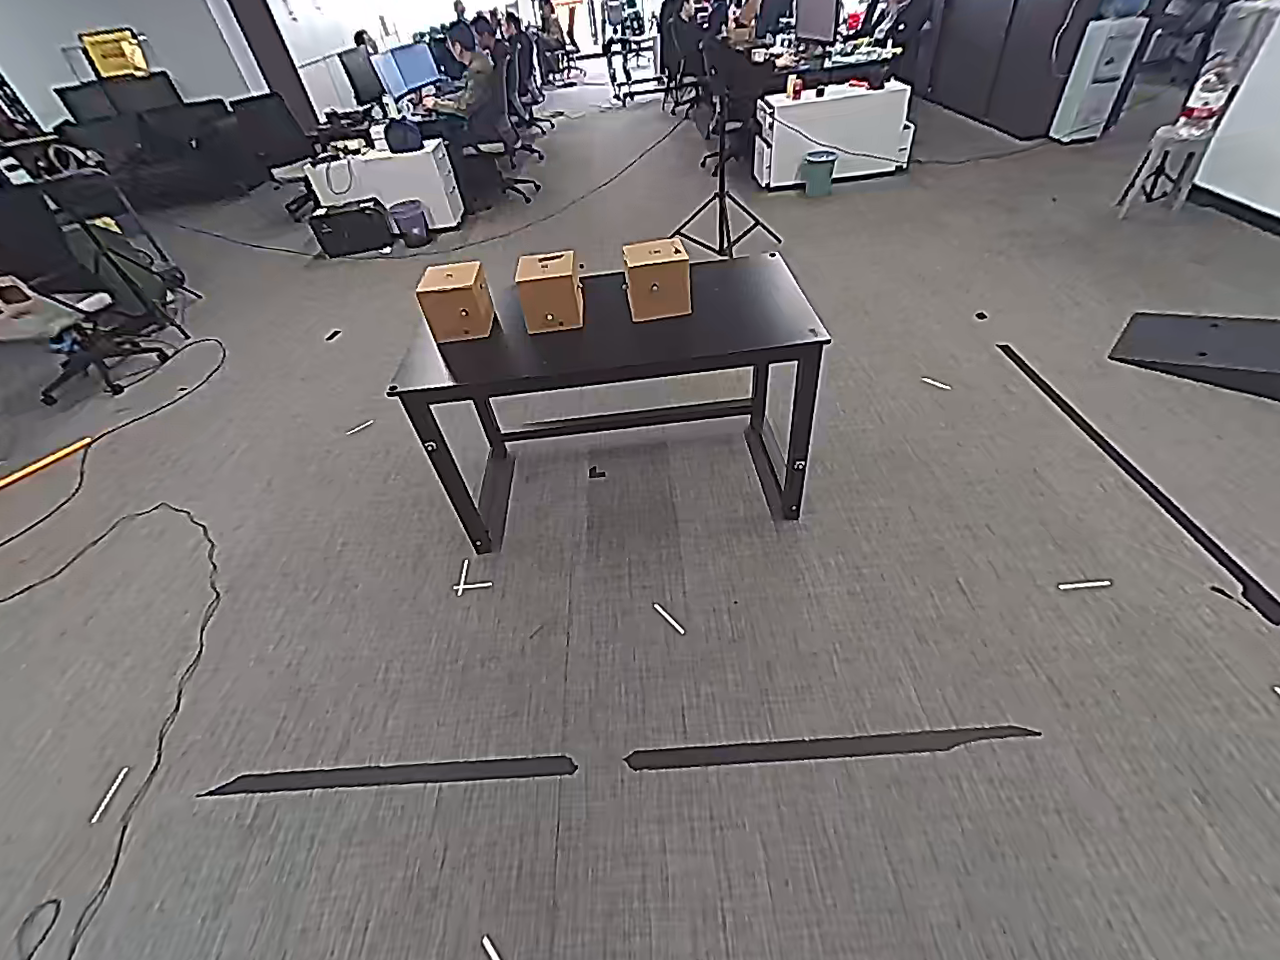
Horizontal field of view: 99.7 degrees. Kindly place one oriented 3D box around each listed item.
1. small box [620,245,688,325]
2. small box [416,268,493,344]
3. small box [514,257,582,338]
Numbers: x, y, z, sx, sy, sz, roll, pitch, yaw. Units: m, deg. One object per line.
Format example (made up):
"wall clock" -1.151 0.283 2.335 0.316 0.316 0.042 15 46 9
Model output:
"small box" 0.043 -0.583 1.625 0.179 0.176 0.168 -10 44 -1
"small box" -0.559 -0.527 1.655 0.168 0.176 0.179 -7 43 0
"small box" -0.273 -0.552 1.639 0.168 0.176 0.179 -7 44 1
